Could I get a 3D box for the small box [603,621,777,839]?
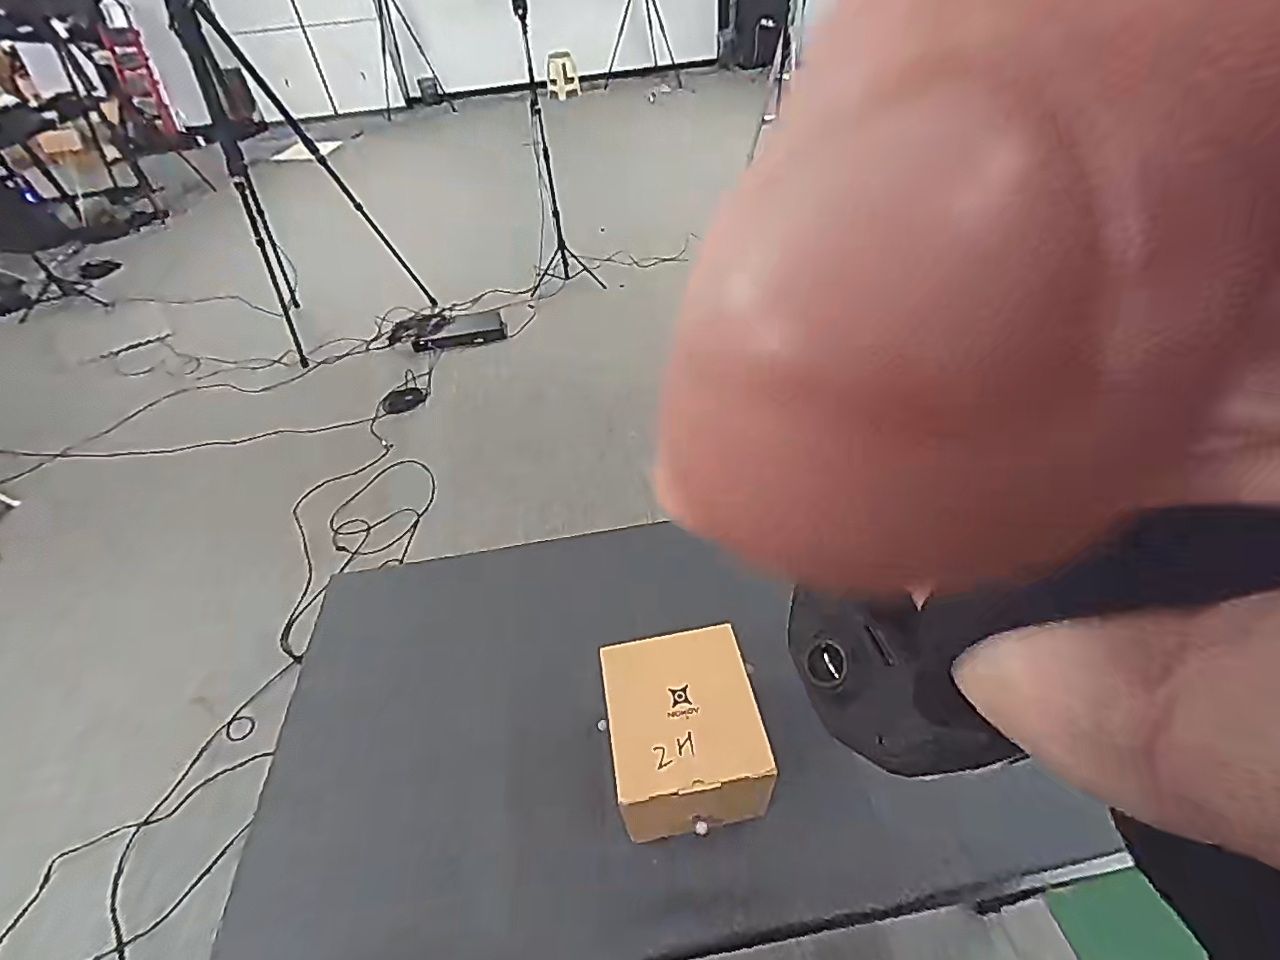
[{"bbox_3d":[0.053,0.302,0.656,0.168,0.176,0.179,-10,45,-3],"label":"small box"}]
